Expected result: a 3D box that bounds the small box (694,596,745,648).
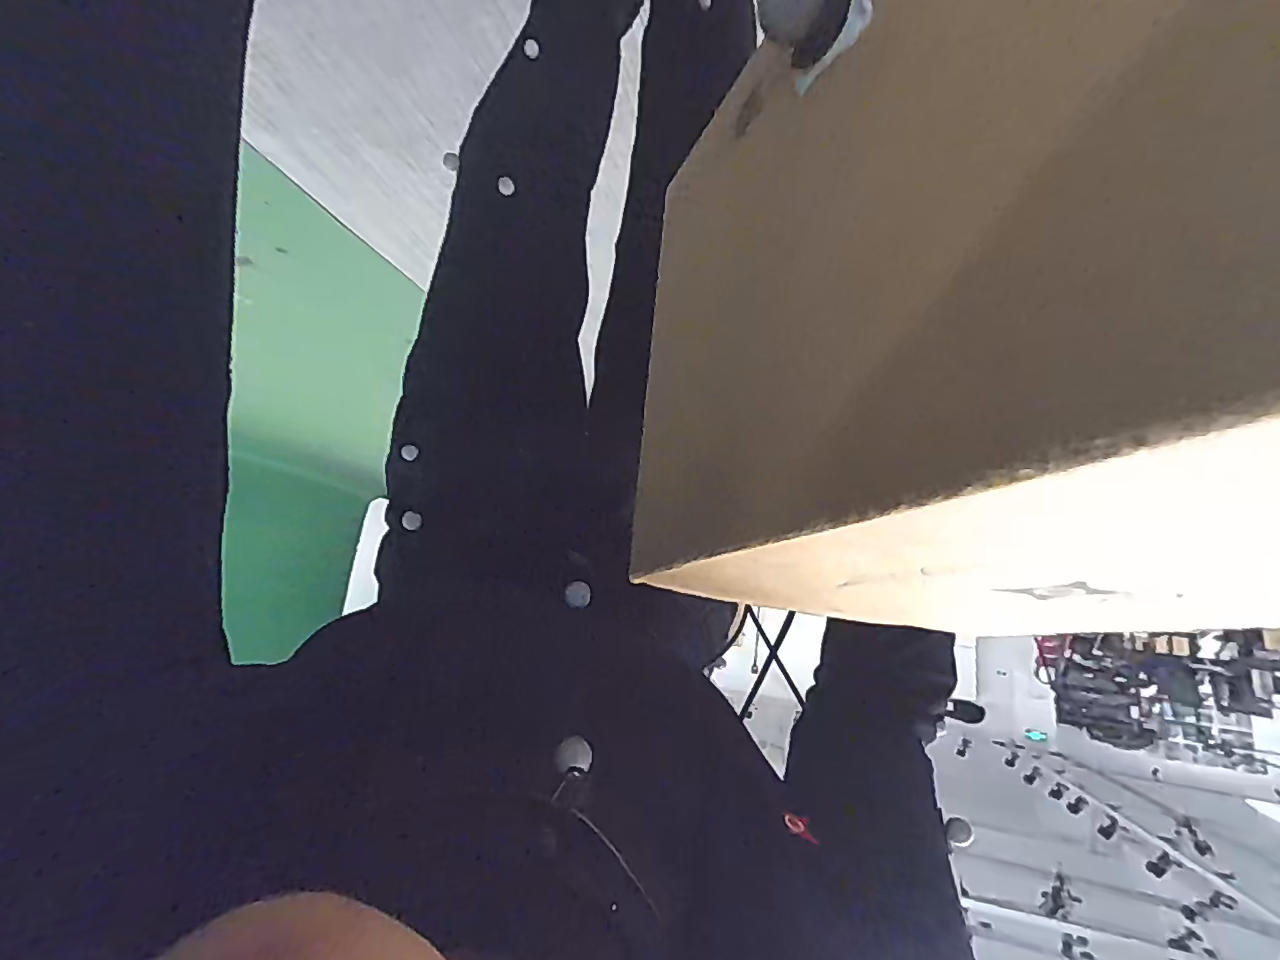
[{"bbox_3d":[0.313,0.551,2.105,0.168,0.176,0.179,3,167,17],"label":"small box"}]
